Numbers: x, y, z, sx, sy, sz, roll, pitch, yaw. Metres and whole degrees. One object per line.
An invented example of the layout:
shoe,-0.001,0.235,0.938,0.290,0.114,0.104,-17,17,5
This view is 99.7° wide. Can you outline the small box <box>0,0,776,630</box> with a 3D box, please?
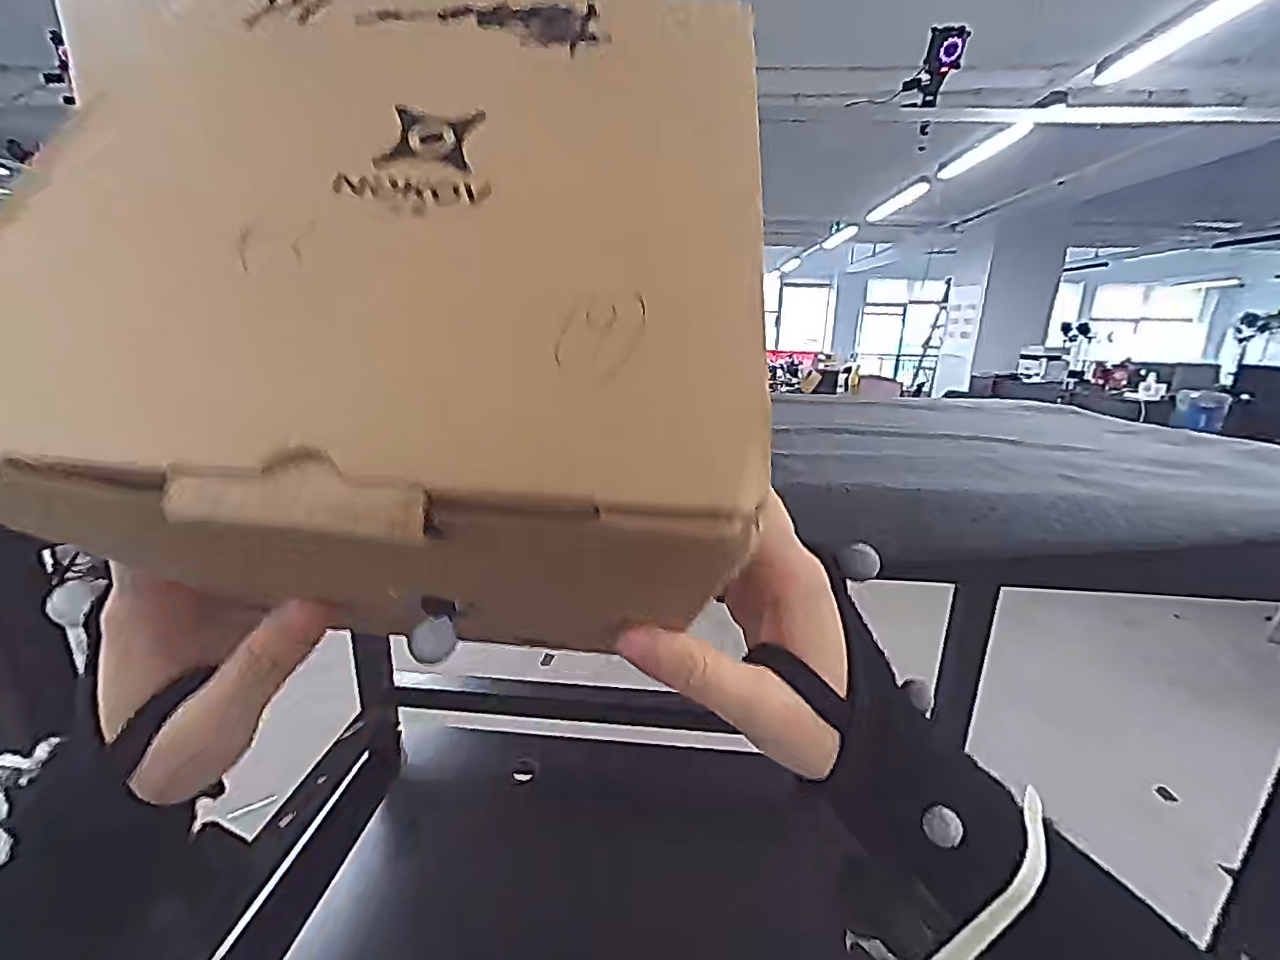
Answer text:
small box,-0.054,-0.048,0.199,0.168,0.179,0.176,5,-25,-2
